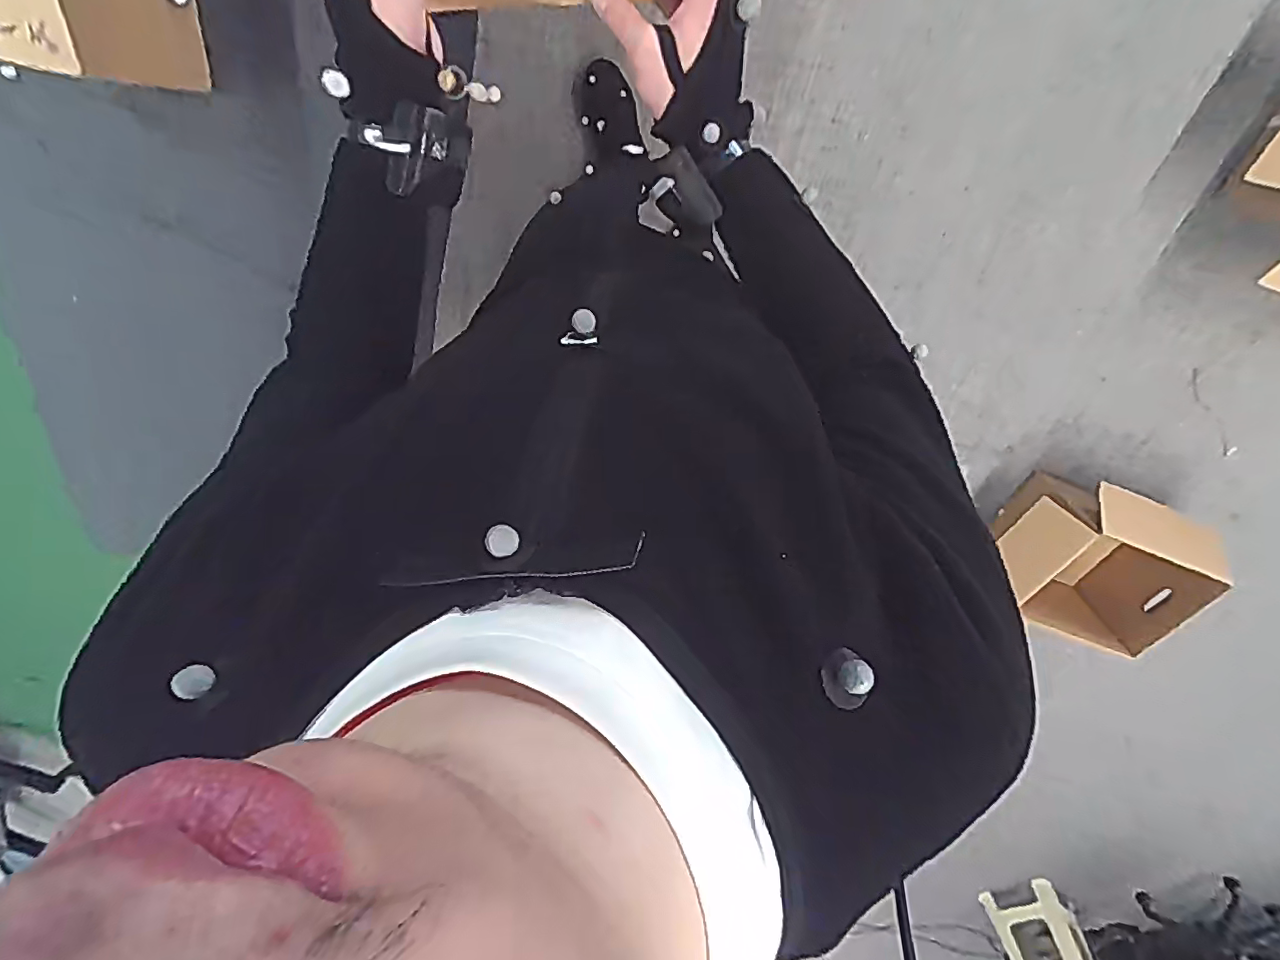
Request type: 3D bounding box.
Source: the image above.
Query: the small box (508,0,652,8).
[{"bbox_3d":[-0.070,-0.438,0.327,0.179,0.176,0.168,2,162,0],"label":"small box"}]

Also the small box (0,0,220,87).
[{"bbox_3d":[-0.582,-0.526,0.549,0.168,0.176,0.179,9,122,-1],"label":"small box"}]
